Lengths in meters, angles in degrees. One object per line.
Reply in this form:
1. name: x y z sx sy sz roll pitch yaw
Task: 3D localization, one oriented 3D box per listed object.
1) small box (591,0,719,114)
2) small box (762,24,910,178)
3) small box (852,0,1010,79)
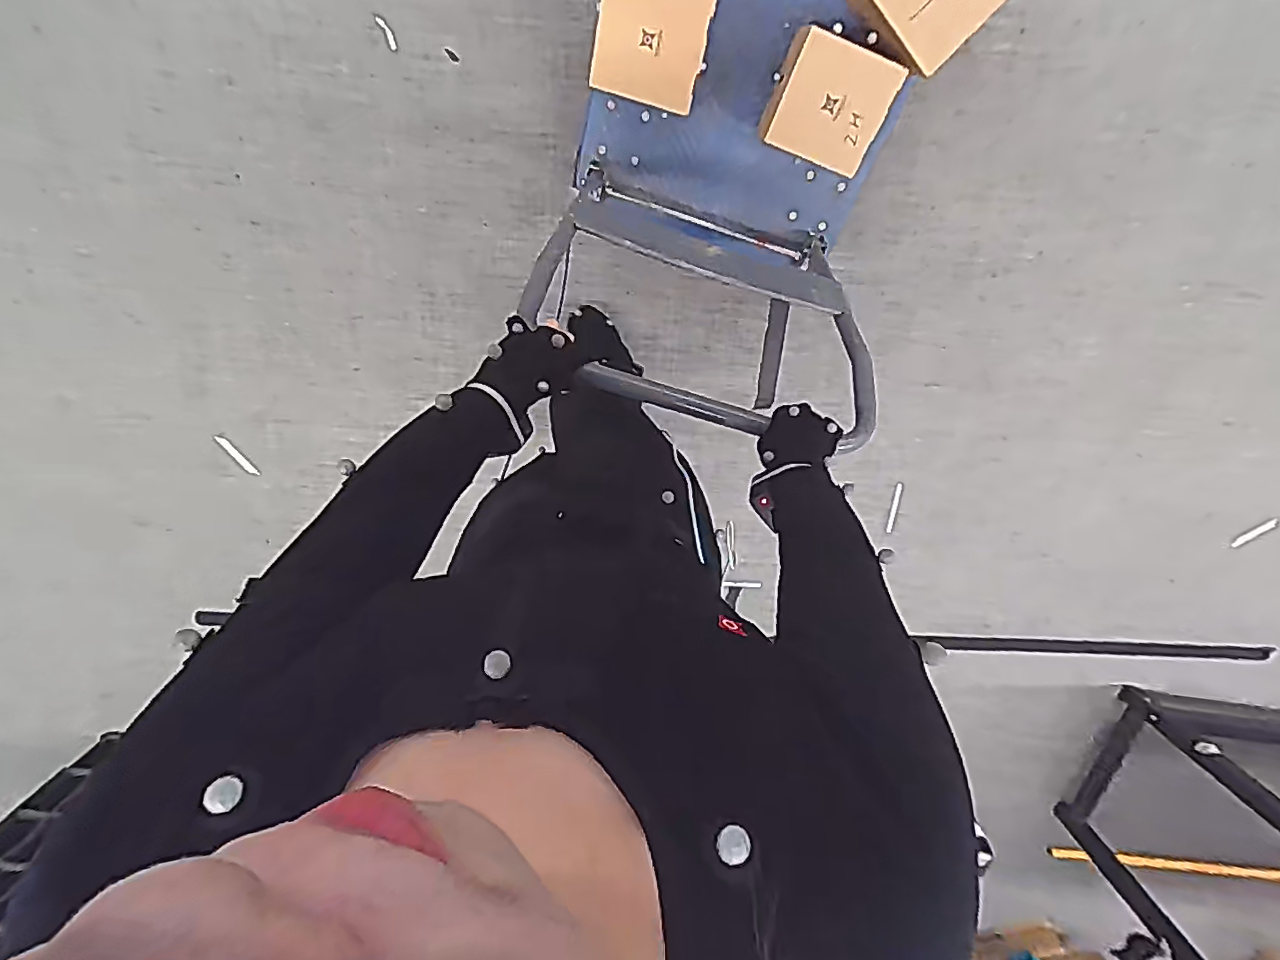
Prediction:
1. small box: 0.026 -0.750 0.921 0.179 0.176 0.168 13 129 -6
2. small box: 0.329 -0.664 0.952 0.179 0.176 0.168 19 129 -8
3. small box: 0.463 -0.777 0.846 0.168 0.176 0.179 37 125 -21
